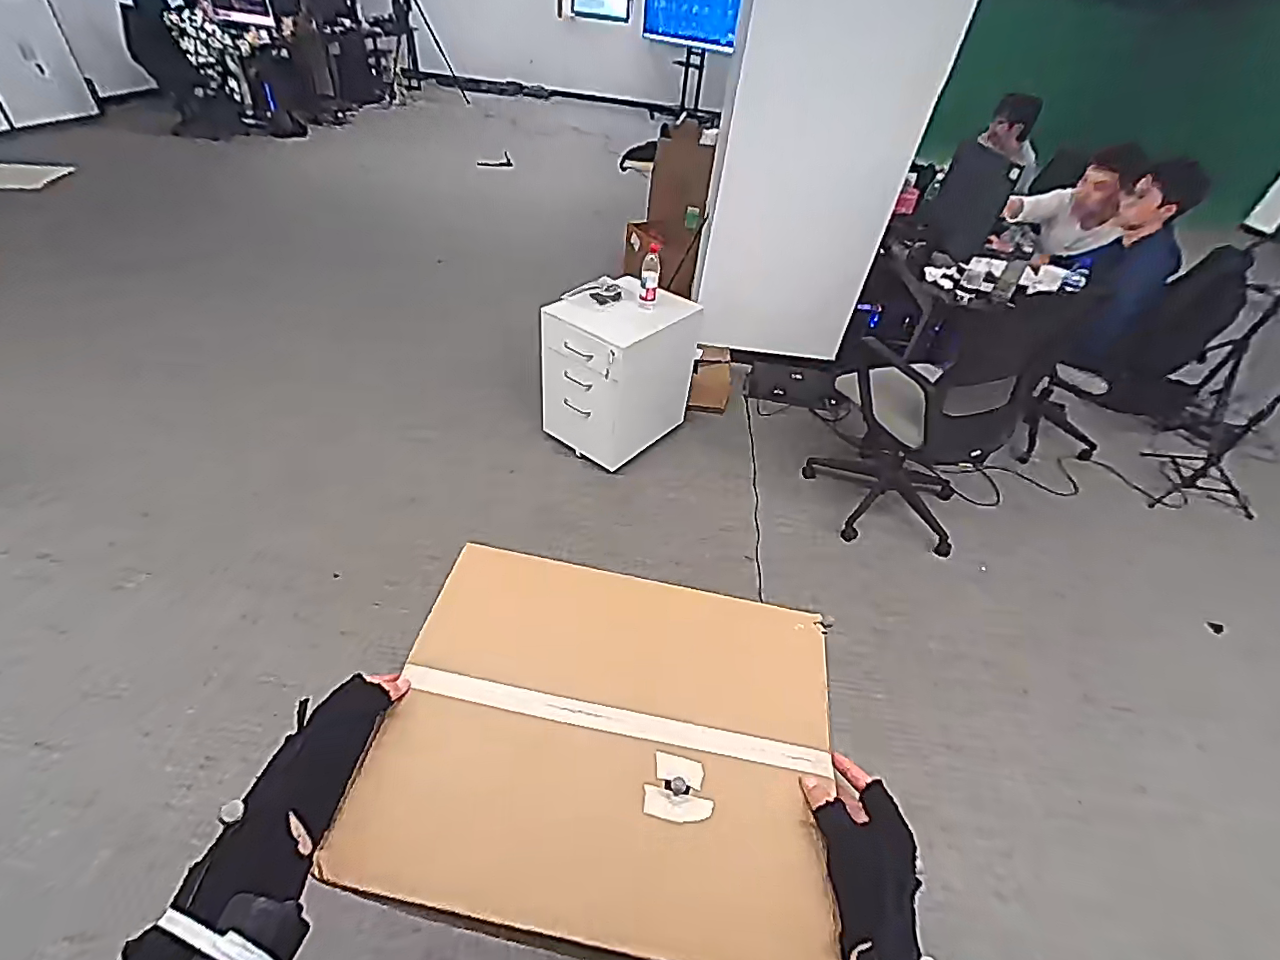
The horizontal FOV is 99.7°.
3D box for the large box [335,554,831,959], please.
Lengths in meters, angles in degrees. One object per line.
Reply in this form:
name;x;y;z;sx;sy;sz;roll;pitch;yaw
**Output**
large box;-0.041;0.329;0.626;0.408;0.320;0.320;11;48;2
